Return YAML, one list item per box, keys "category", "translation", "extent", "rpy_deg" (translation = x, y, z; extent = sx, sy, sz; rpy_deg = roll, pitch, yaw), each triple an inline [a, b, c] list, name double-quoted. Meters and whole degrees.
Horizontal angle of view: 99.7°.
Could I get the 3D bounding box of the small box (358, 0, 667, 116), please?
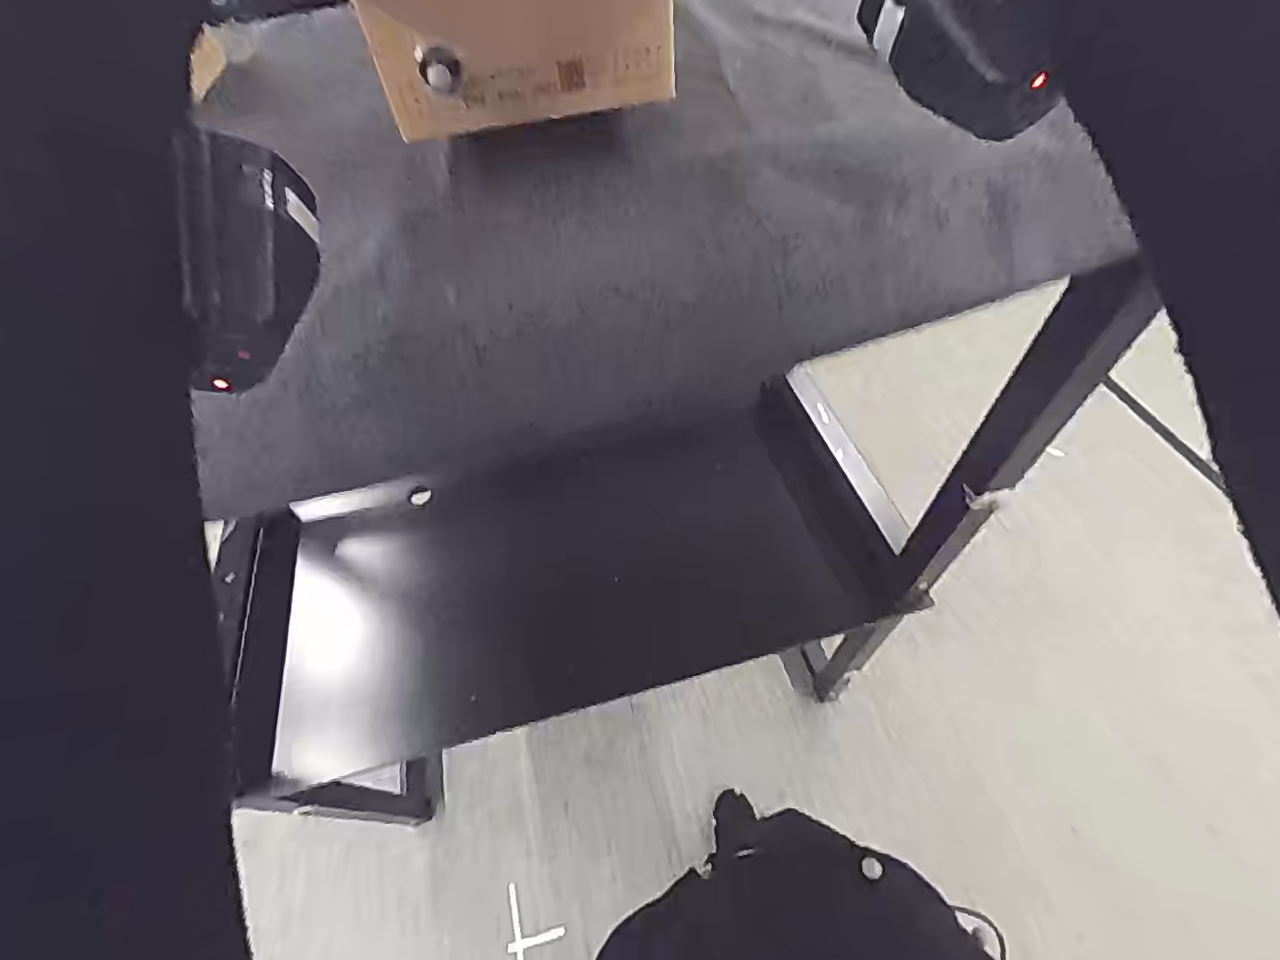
- category: "small box"
  translation: [-0.083, -0.331, 0.313]
  extent: [0.168, 0.176, 0.179]
  rpy_deg: [-12, 49, -5]
